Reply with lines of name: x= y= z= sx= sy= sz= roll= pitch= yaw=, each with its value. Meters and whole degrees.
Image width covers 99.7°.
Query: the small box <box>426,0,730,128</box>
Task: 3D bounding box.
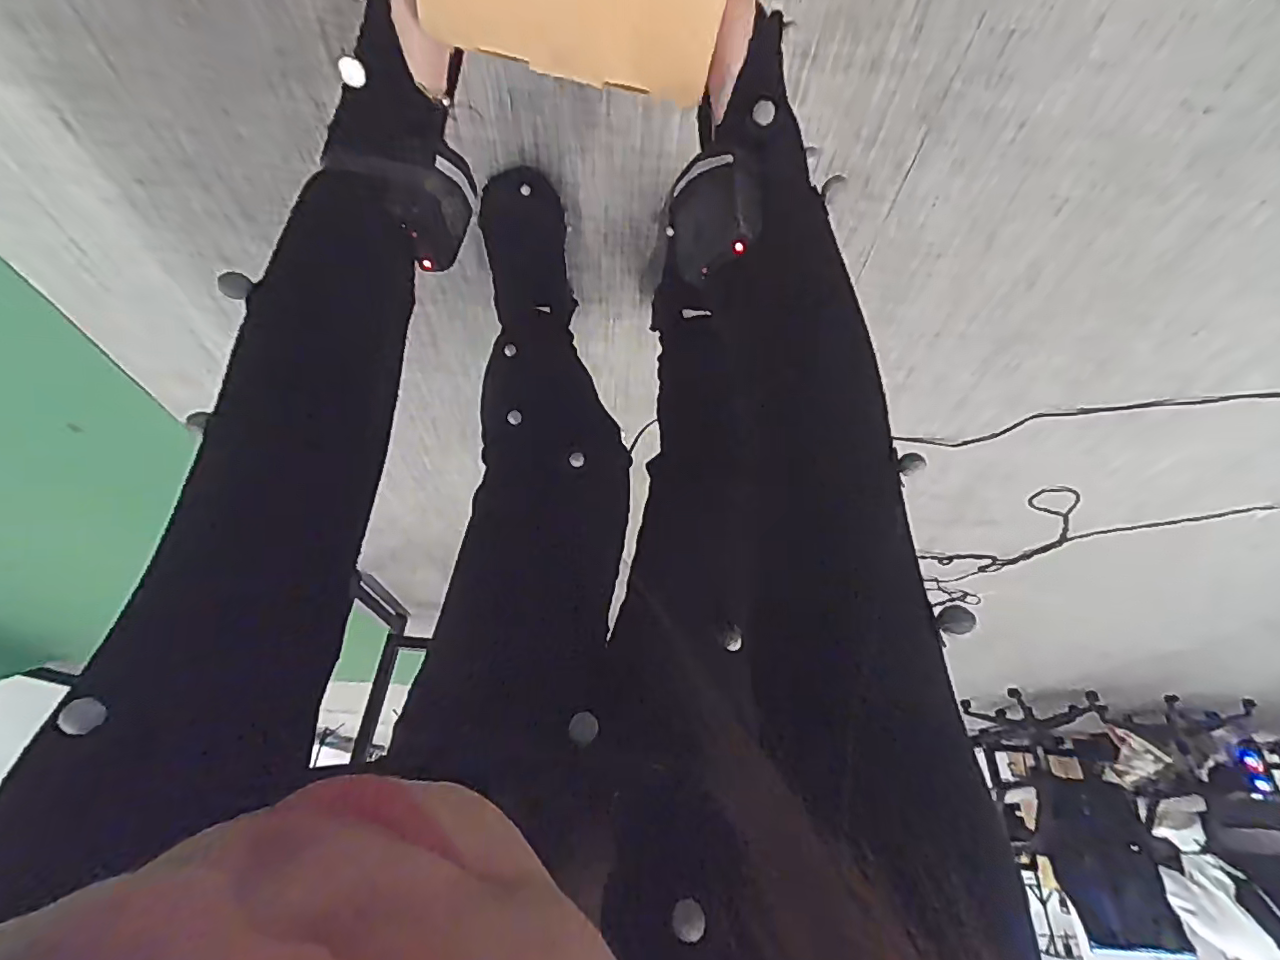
small box: x=-0.027 y=-0.349 z=0.306 sx=0.168 sy=0.176 sz=0.179 roll=6 pitch=150 yaw=-10
